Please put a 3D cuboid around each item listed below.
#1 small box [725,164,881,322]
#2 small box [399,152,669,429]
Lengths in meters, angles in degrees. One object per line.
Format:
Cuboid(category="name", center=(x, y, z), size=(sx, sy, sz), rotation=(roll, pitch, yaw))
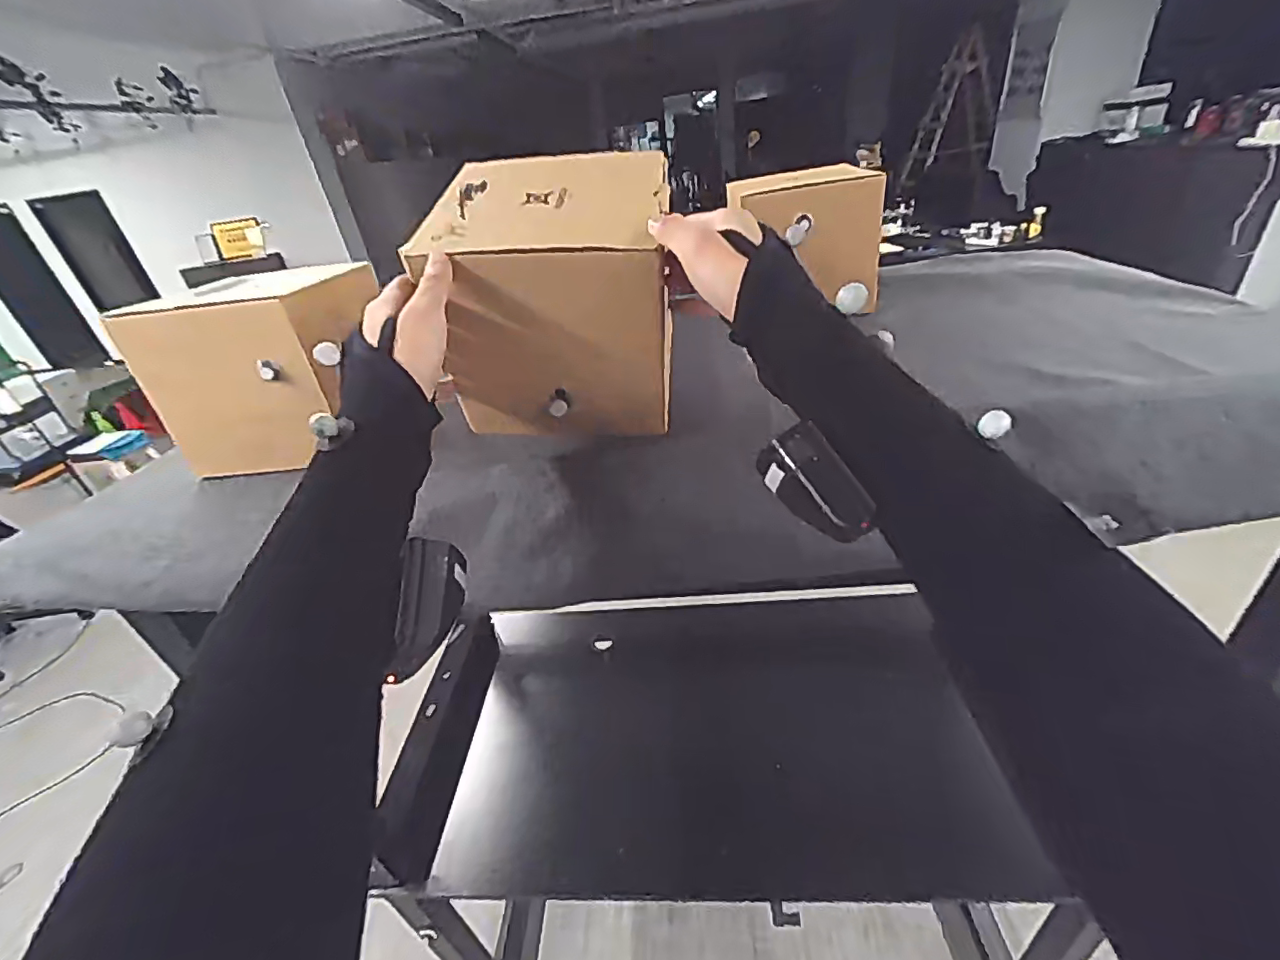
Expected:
Cuboid(category="small box", center=(0.217, -0.329, 0.755), size=(0.179, 0.176, 0.168), rotation=(-5, 33, 6))
Cuboid(category="small box", center=(-0.066, -0.157, 0.464), size=(0.179, 0.176, 0.168), rotation=(1, 49, 5))
